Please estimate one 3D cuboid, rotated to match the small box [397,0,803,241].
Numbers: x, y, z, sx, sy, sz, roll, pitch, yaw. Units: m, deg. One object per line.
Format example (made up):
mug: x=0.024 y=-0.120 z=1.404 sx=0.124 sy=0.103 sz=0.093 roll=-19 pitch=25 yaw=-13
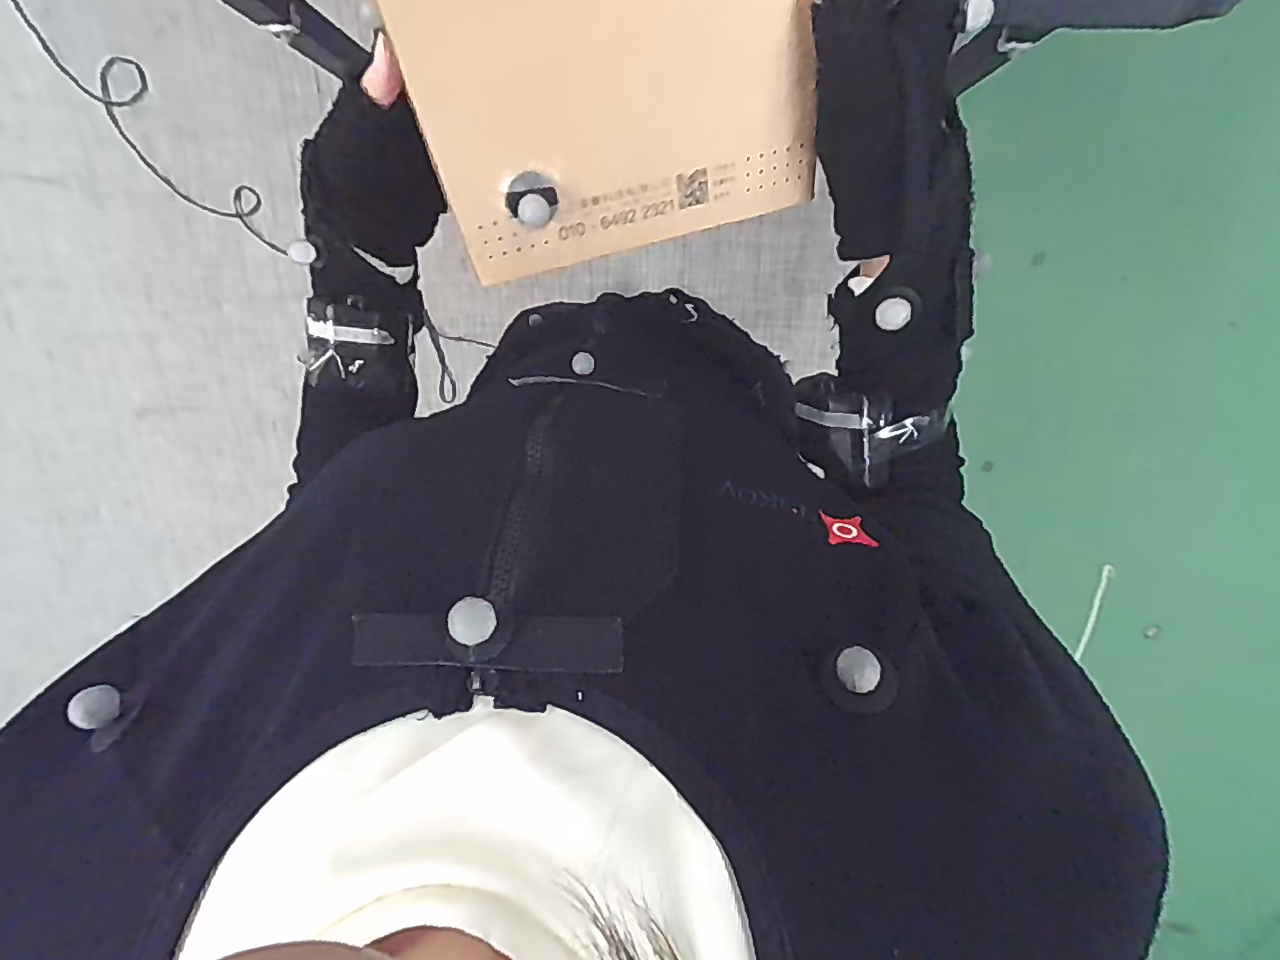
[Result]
small box: x=-0.028 y=-0.236 z=0.266 sx=0.168 sy=0.179 sz=0.176 roll=-17 pitch=134 yaw=-7
